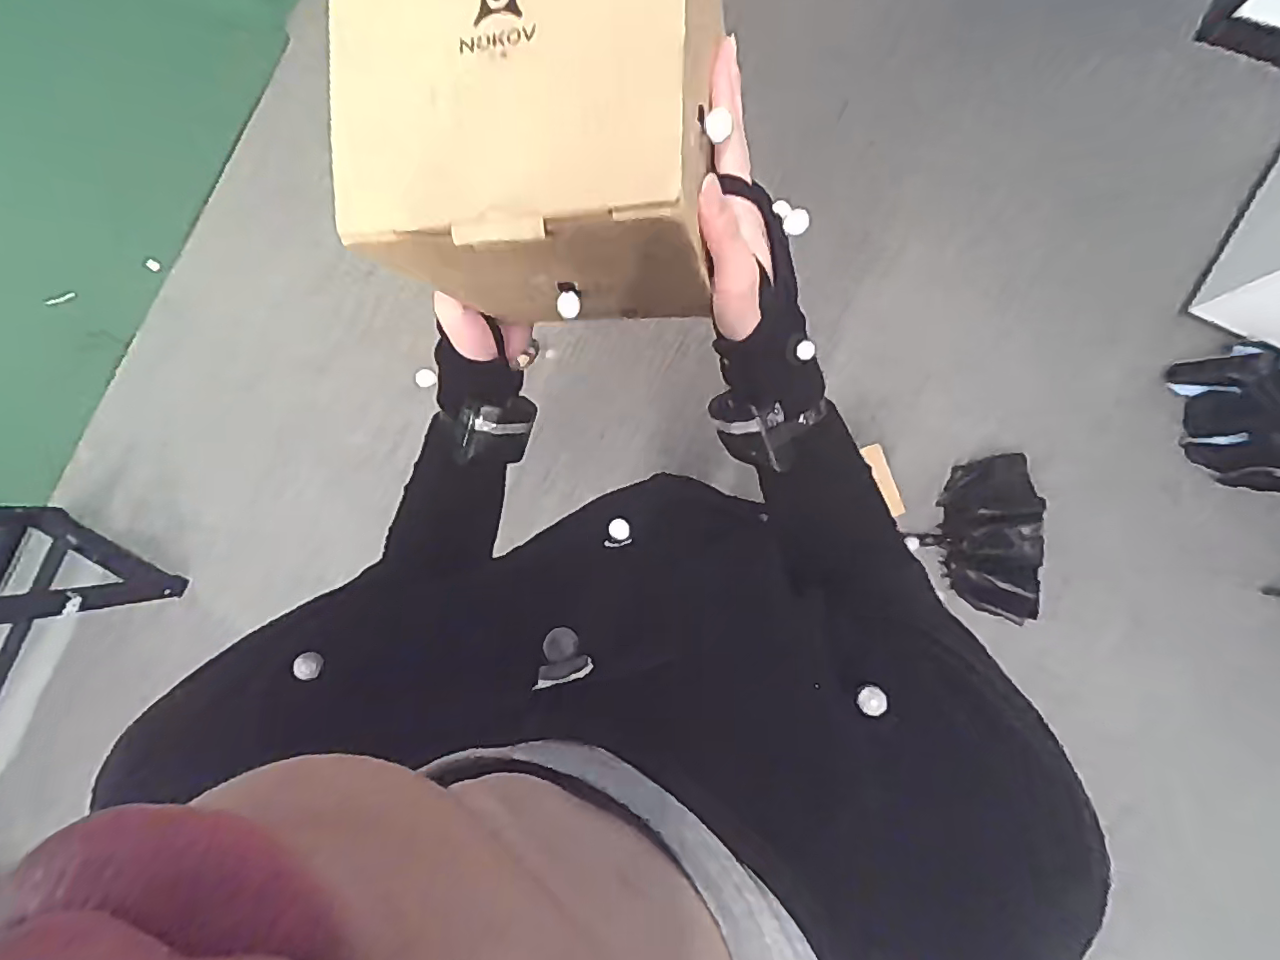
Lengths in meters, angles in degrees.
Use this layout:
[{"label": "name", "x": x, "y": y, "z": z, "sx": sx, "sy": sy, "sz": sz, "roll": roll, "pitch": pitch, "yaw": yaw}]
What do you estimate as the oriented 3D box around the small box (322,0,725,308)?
[{"label": "small box", "x": -0.041, "y": -0.198, "z": 0.298, "sx": 0.168, "sy": 0.176, "sz": 0.179, "roll": 1, "pitch": 94, "yaw": 12}]
